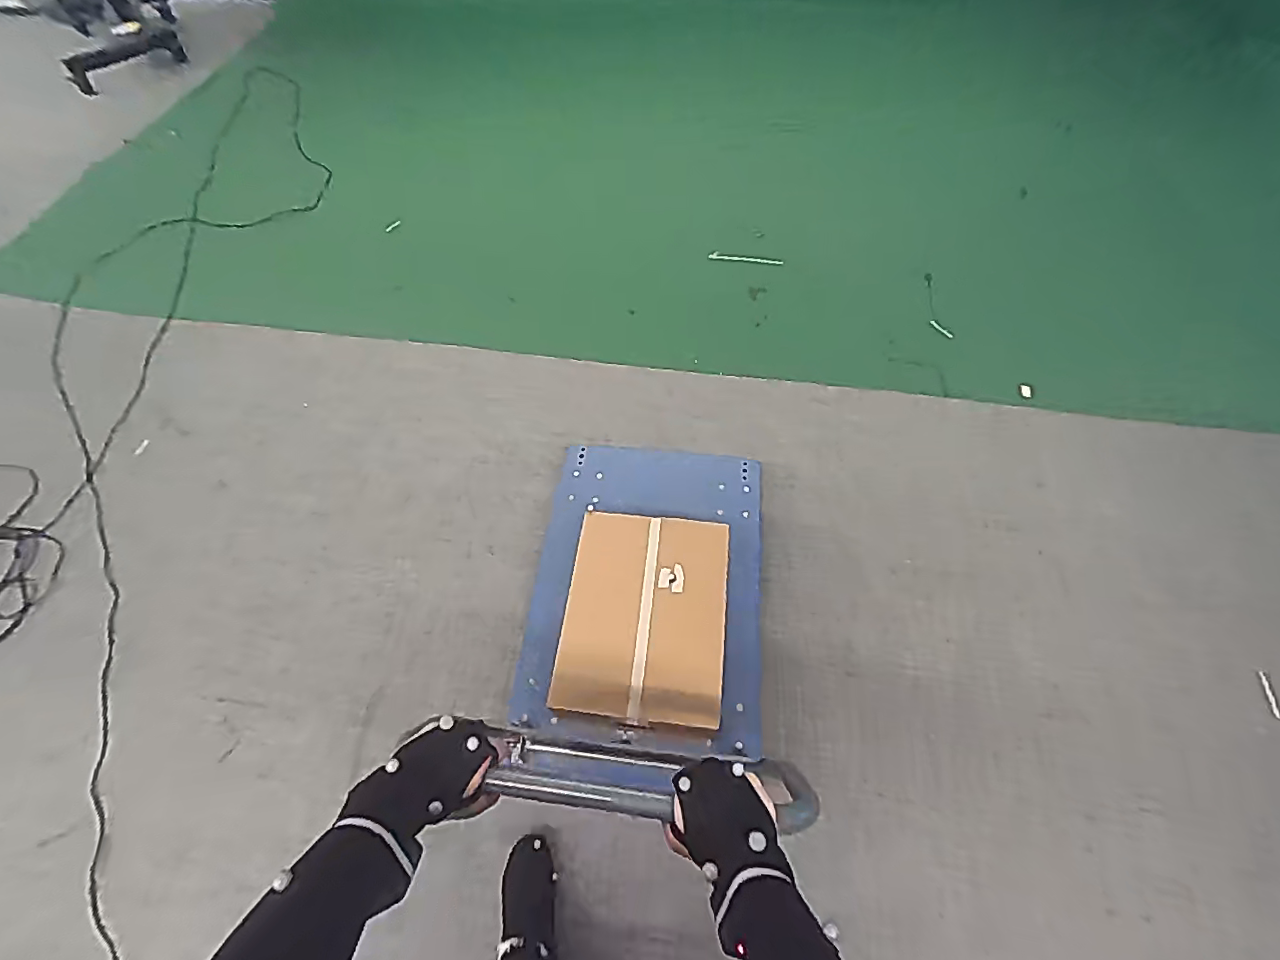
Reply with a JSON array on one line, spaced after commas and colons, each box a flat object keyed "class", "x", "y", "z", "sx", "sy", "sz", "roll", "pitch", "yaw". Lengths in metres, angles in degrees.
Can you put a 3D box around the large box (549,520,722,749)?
[{"class": "large box", "x": 0.008, "y": 0.345, "z": 1.193, "sx": 0.320, "sy": 0.320, "sz": 0.408, "roll": 6, "pitch": 58, "yaw": 4}]
